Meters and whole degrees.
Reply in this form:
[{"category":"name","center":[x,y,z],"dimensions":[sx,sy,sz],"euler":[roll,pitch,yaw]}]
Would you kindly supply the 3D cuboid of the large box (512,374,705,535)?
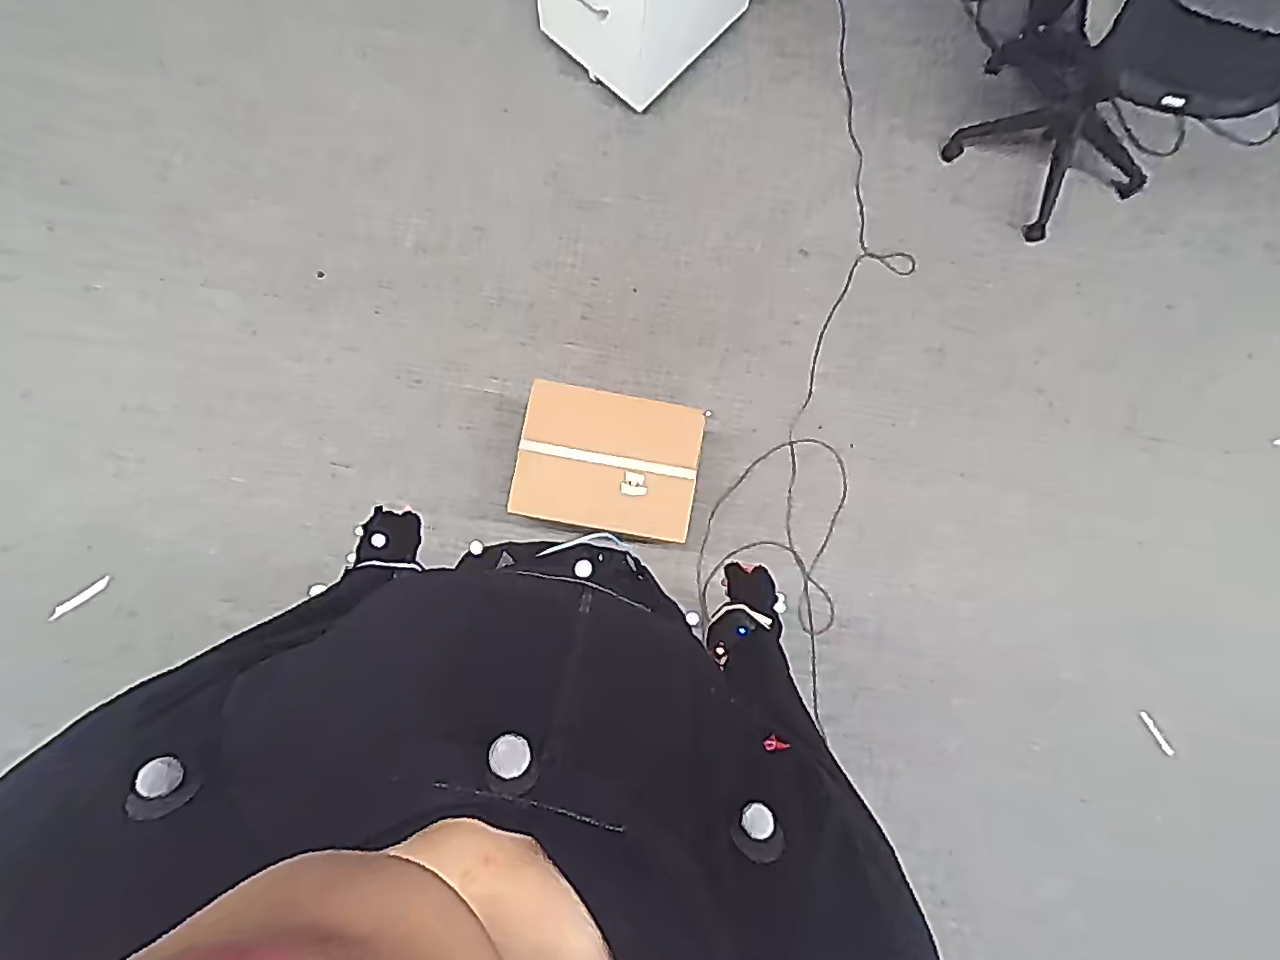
[{"category":"large box","center":[-0.081,-0.044,1.373],"dimensions":[0.408,0.320,0.320],"euler":[11,83,-3]}]
